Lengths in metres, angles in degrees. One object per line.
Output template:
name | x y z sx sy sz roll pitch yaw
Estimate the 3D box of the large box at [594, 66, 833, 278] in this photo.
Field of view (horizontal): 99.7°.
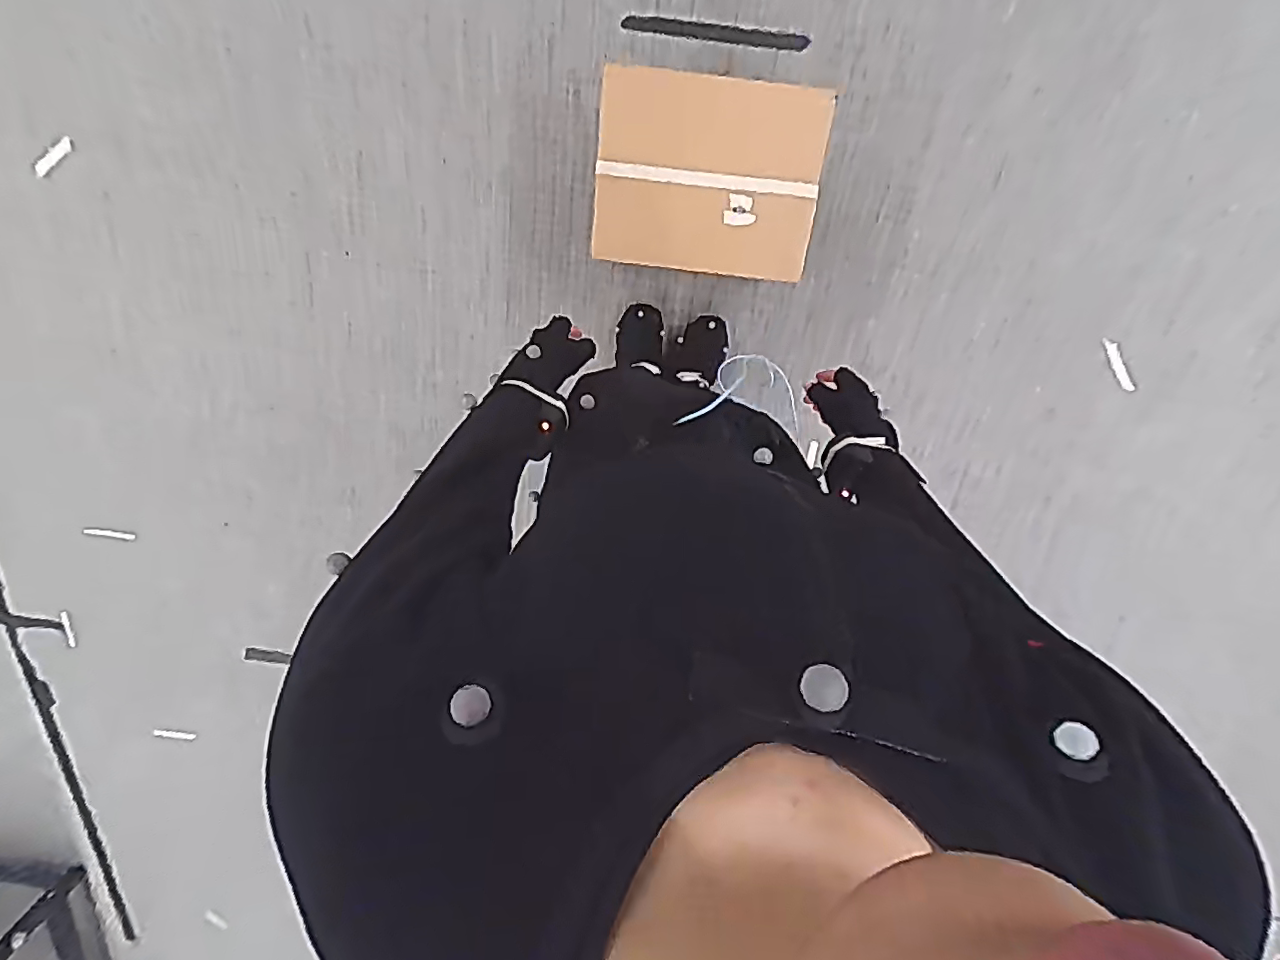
large box | 0.125 -0.606 1.124 0.408 0.320 0.320 7 113 -1
